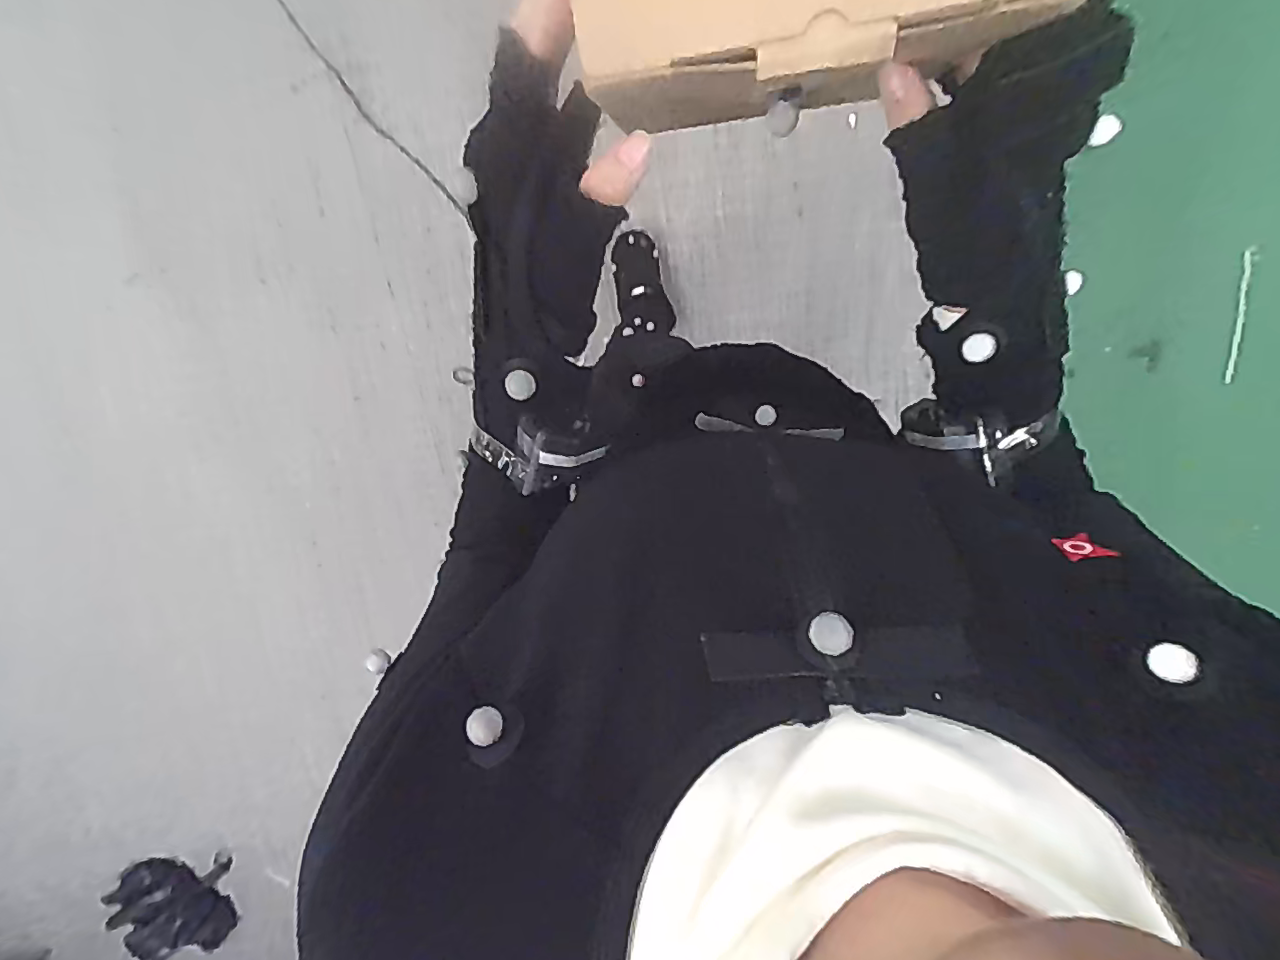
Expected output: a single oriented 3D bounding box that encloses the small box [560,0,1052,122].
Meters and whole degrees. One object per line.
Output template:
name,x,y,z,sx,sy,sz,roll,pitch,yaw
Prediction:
small box,0.053,-0.260,0.217,0.168,0.176,0.179,-5,117,8
